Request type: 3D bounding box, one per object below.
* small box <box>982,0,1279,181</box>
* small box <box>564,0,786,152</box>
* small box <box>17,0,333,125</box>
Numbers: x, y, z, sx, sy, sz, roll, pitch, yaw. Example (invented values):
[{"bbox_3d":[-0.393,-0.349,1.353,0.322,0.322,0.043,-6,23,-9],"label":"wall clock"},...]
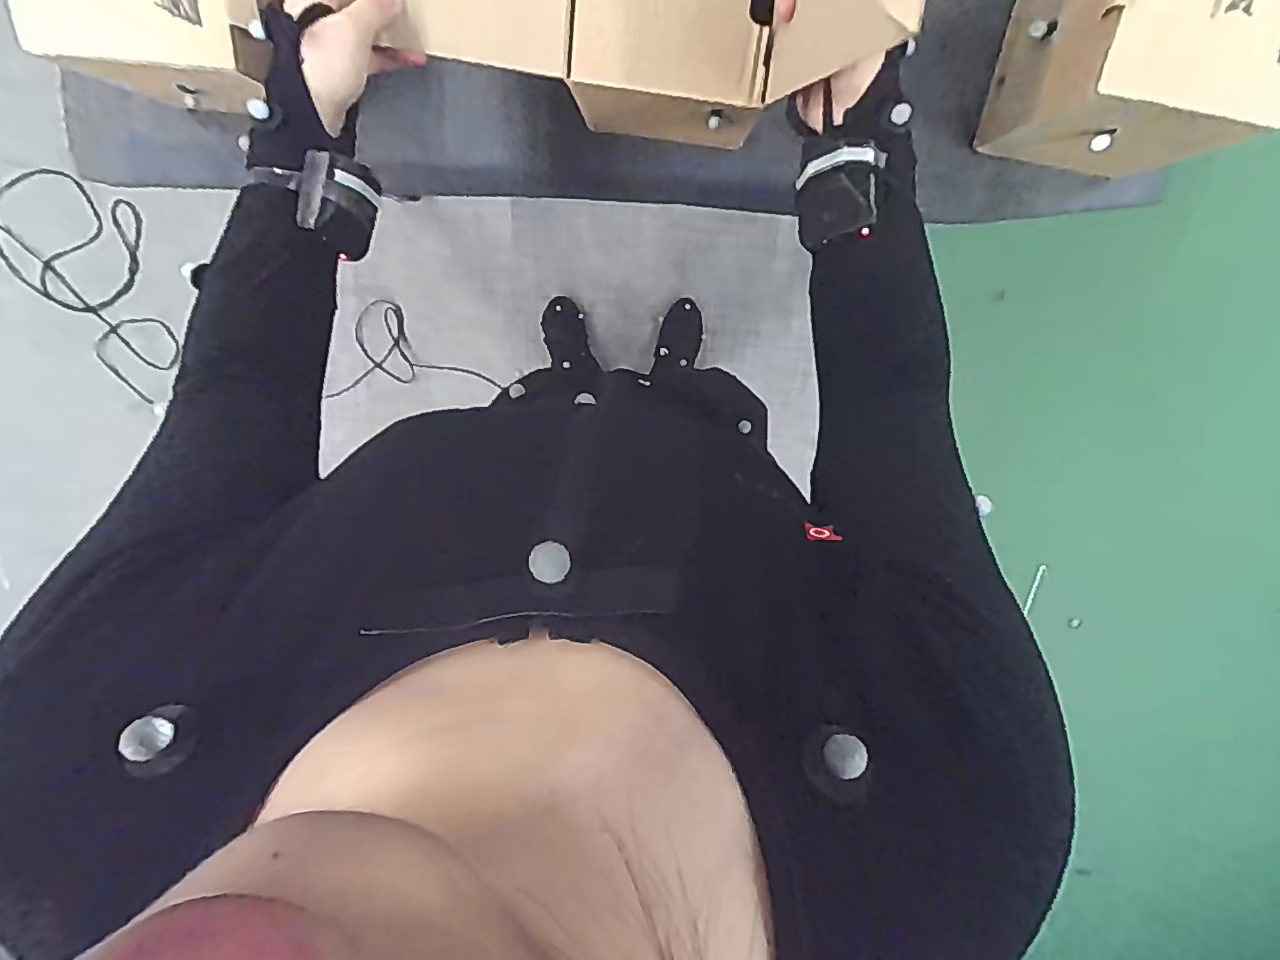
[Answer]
[{"bbox_3d":[0.468,-0.399,0.506,0.179,0.176,0.168,9,107,-2],"label":"small box"},{"bbox_3d":[0.034,-0.421,0.503,0.179,0.176,0.168,7,111,0],"label":"small box"},{"bbox_3d":[-0.407,-0.441,0.492,0.179,0.176,0.168,4,111,-1],"label":"small box"}]
